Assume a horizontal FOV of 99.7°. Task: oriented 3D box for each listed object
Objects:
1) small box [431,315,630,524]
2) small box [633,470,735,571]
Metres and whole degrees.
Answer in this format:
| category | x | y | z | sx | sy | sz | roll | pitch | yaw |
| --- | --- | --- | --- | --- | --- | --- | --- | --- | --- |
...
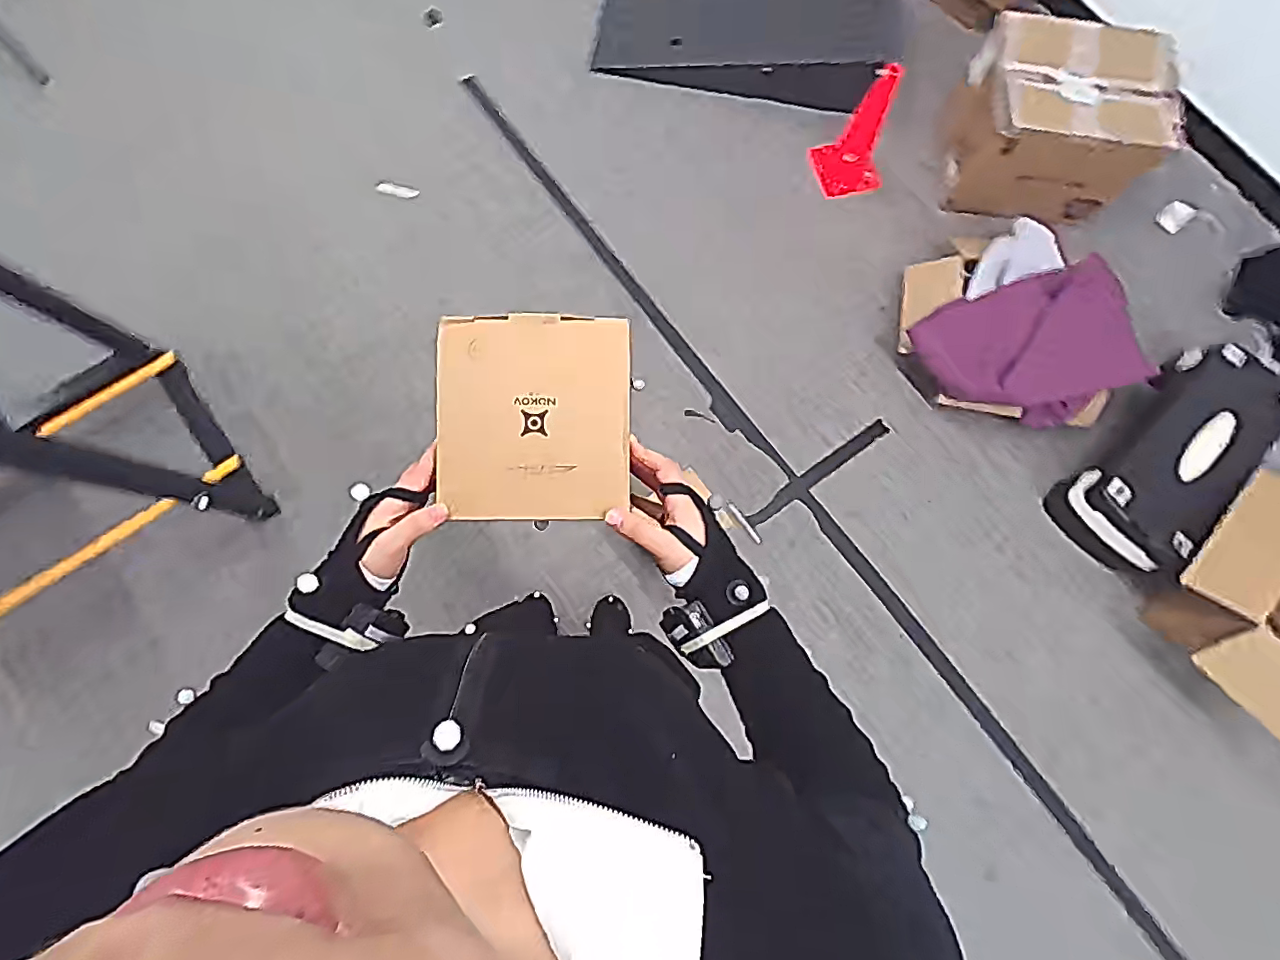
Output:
| category | x | y | z | sx | sy | sz | roll | pitch | yaw |
| --- | --- | --- | --- | --- | --- | --- | --- | --- | --- |
| small box | -0.095 | -0.049 | 0.530 | 0.168 | 0.176 | 0.179 | 0 | 90 | -2 |
| small box | 0.095 | 0.102 | 1.290 | 0.179 | 0.176 | 0.168 | -35 | 81 | -8 |
